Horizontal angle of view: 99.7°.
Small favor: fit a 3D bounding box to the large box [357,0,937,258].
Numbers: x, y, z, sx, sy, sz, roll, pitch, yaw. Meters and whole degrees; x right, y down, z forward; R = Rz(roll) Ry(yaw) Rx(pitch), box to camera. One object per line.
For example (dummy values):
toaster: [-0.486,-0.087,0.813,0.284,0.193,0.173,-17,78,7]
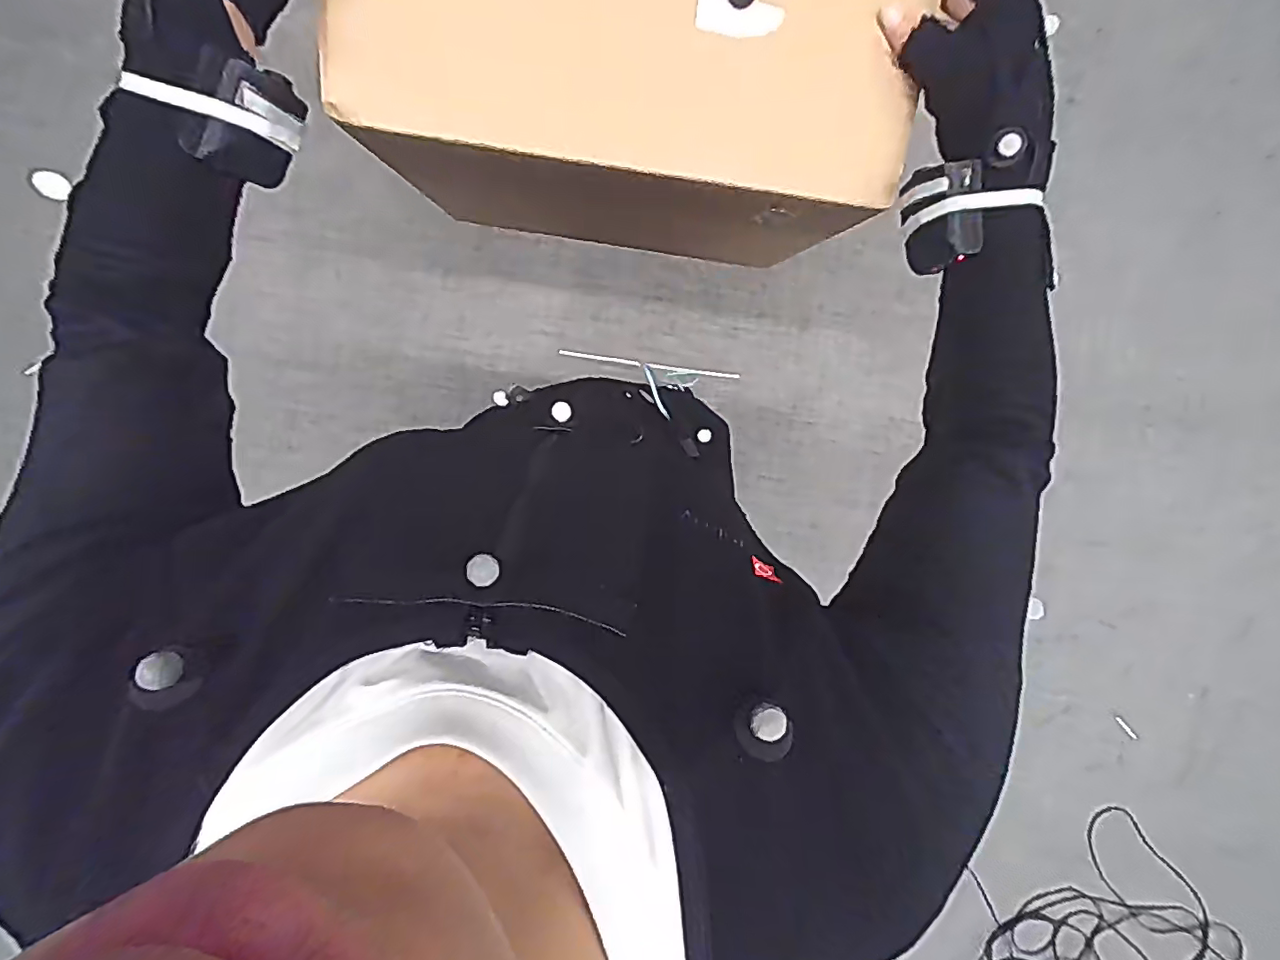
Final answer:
large box: [0.005,-0.415,0.503,0.408,0.320,0.320,6,104,-6]
